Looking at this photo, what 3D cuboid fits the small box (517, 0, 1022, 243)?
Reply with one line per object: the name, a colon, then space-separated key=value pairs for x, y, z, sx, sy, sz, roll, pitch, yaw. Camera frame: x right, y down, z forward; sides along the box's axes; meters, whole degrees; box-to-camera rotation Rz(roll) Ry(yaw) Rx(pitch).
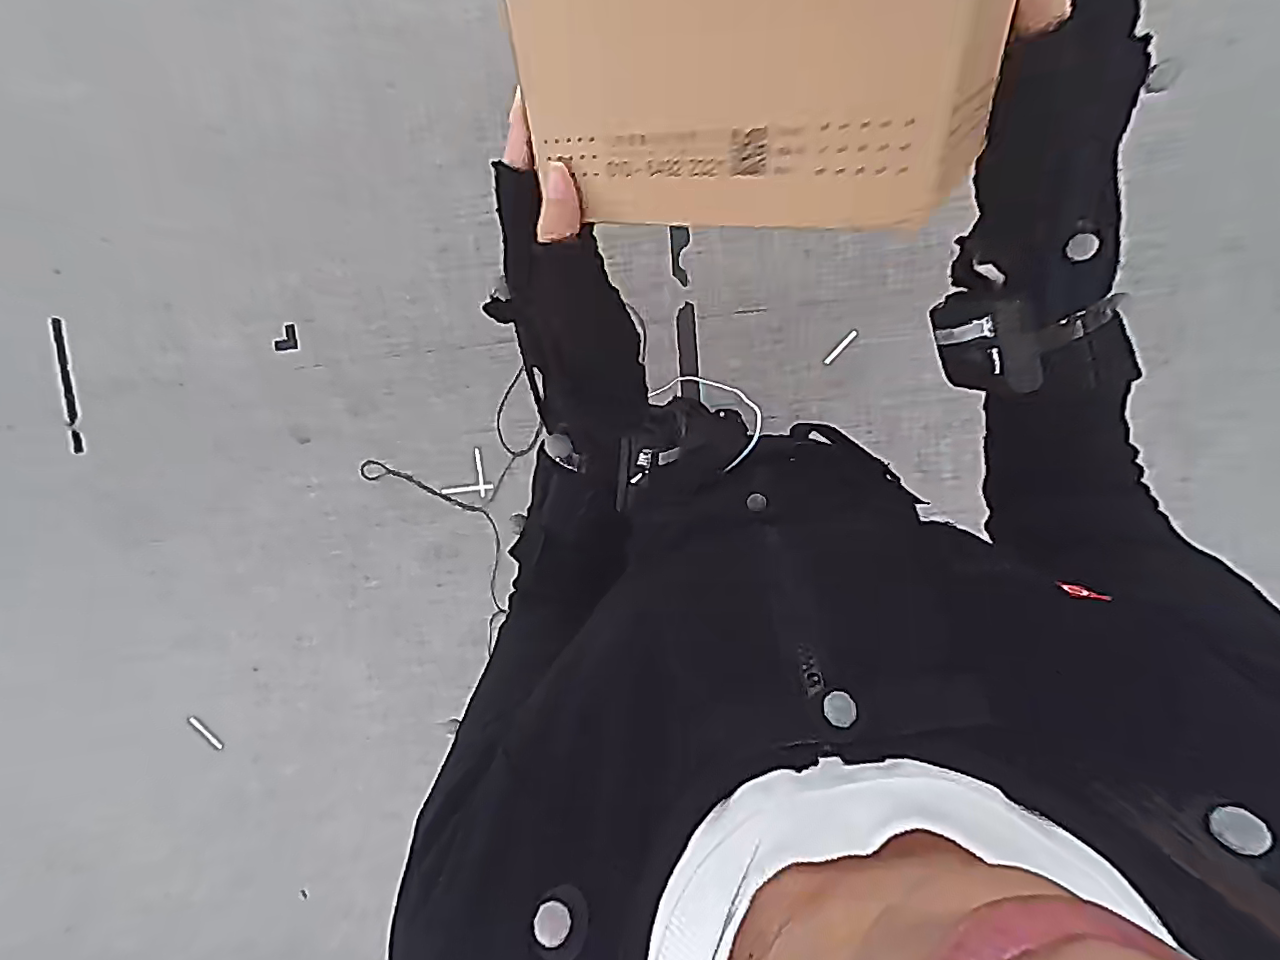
small box: x=0.062 y=-0.212 z=0.228 sx=0.168 sy=0.179 sz=0.176 roll=20 pitch=136 yaw=30
